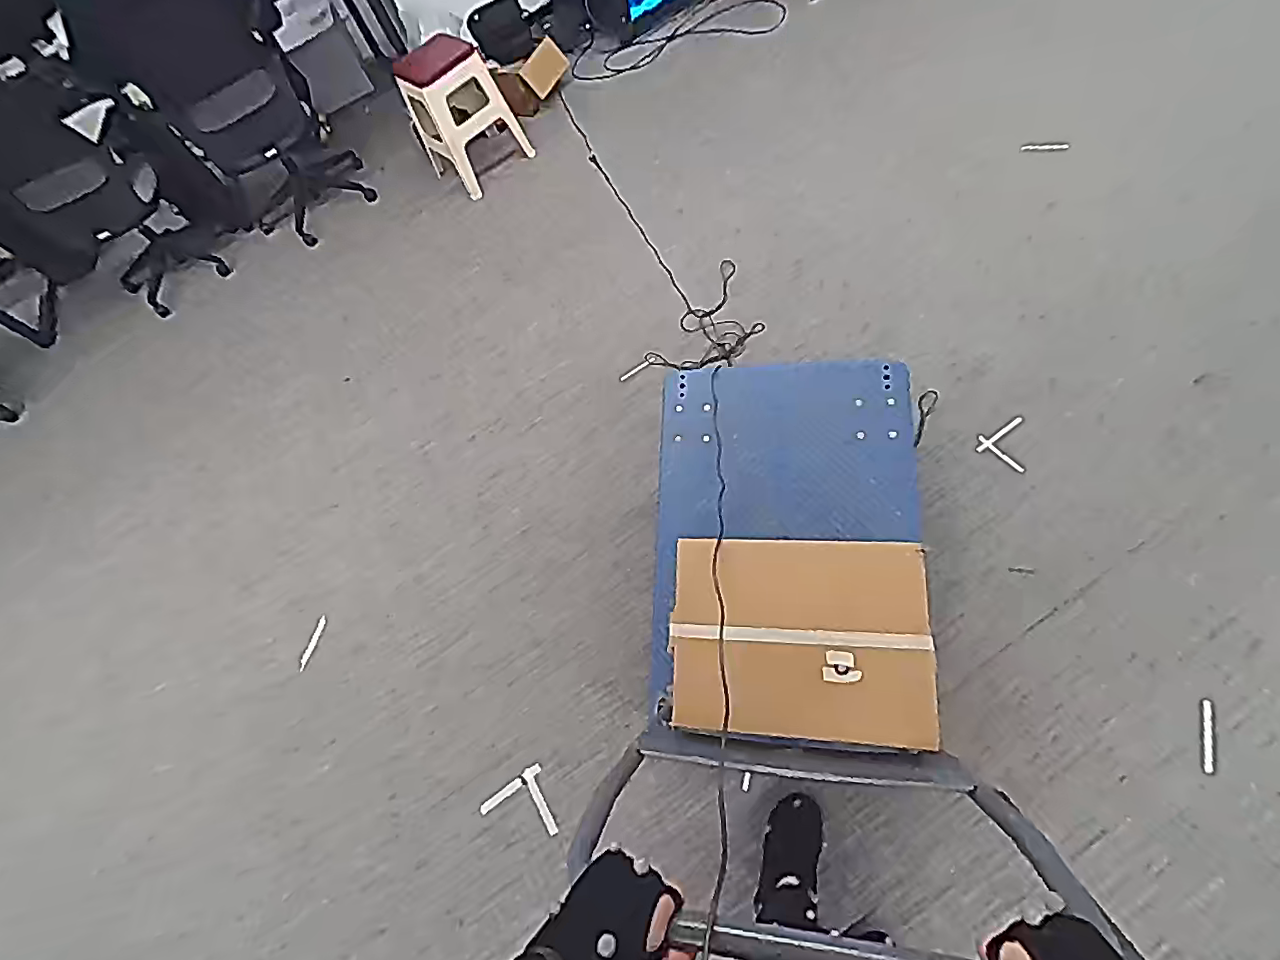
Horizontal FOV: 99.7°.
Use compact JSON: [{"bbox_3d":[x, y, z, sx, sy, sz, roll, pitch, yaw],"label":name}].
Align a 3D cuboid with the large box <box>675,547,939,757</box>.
[{"bbox_3d":[0.284,0.302,1.017,0.408,0.320,0.320,0,77,12],"label":"large box"}]
